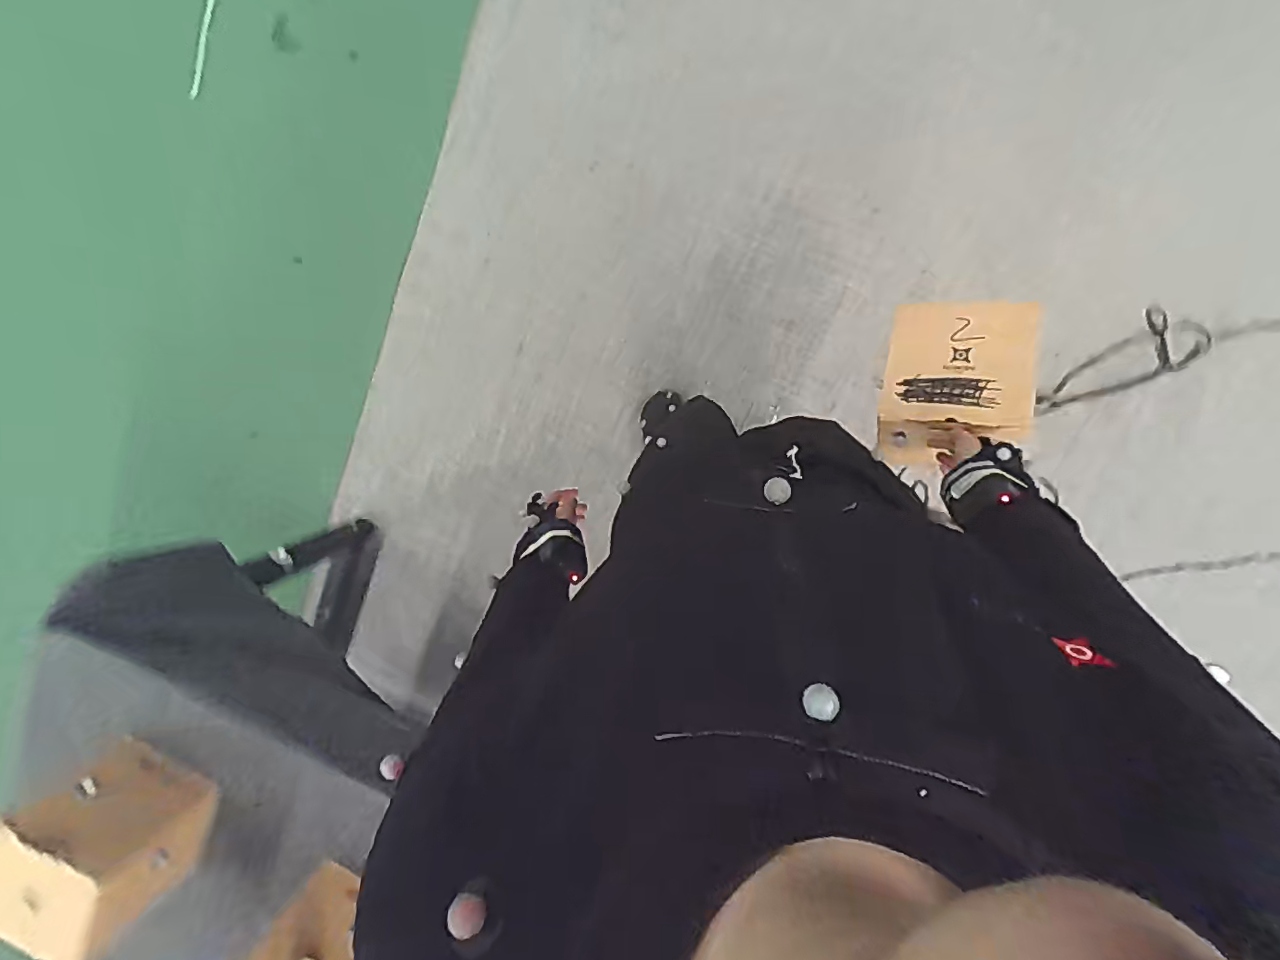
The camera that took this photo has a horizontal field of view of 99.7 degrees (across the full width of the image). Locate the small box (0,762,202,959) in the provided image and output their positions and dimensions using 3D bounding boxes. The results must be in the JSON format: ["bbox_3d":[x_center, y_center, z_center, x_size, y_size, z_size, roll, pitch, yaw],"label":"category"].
[{"bbox_3d":[-0.738,0.523,0.720,0.168,0.176,0.179,25,104,3],"label":"small box"}]

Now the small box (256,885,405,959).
[{"bbox_3d":[-0.449,0.703,0.715,0.168,0.176,0.179,33,102,1],"label":"small box"}]
